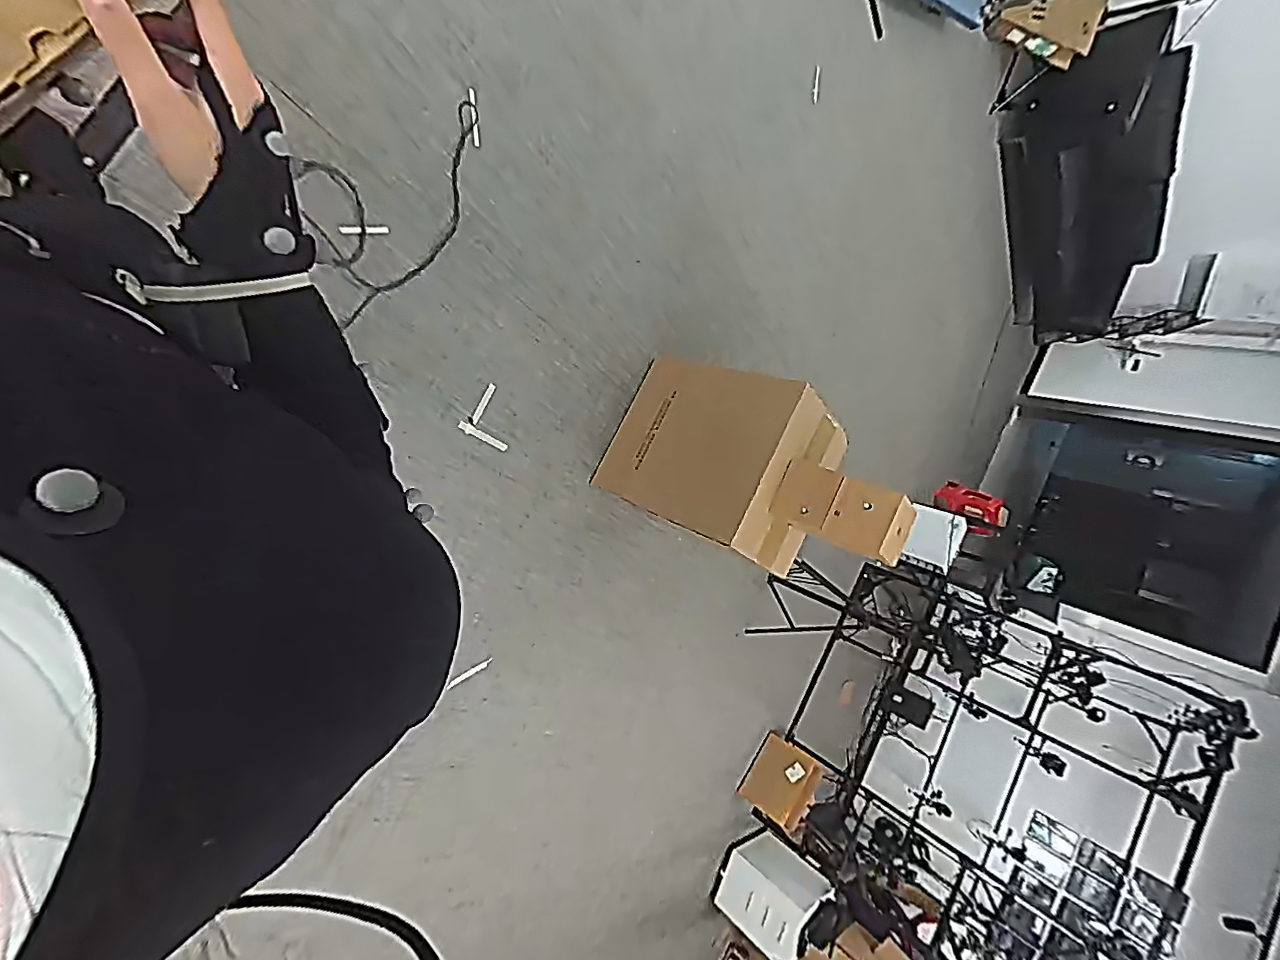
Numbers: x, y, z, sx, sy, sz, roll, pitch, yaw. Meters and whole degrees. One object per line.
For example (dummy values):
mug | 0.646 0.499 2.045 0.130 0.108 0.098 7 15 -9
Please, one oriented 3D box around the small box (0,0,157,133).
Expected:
small box | -0.358 -0.277 0.238 0.168 0.176 0.179 -51 141 -8

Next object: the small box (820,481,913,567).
small box | 0.617 0.117 1.479 0.179 0.176 0.168 31 83 -49
